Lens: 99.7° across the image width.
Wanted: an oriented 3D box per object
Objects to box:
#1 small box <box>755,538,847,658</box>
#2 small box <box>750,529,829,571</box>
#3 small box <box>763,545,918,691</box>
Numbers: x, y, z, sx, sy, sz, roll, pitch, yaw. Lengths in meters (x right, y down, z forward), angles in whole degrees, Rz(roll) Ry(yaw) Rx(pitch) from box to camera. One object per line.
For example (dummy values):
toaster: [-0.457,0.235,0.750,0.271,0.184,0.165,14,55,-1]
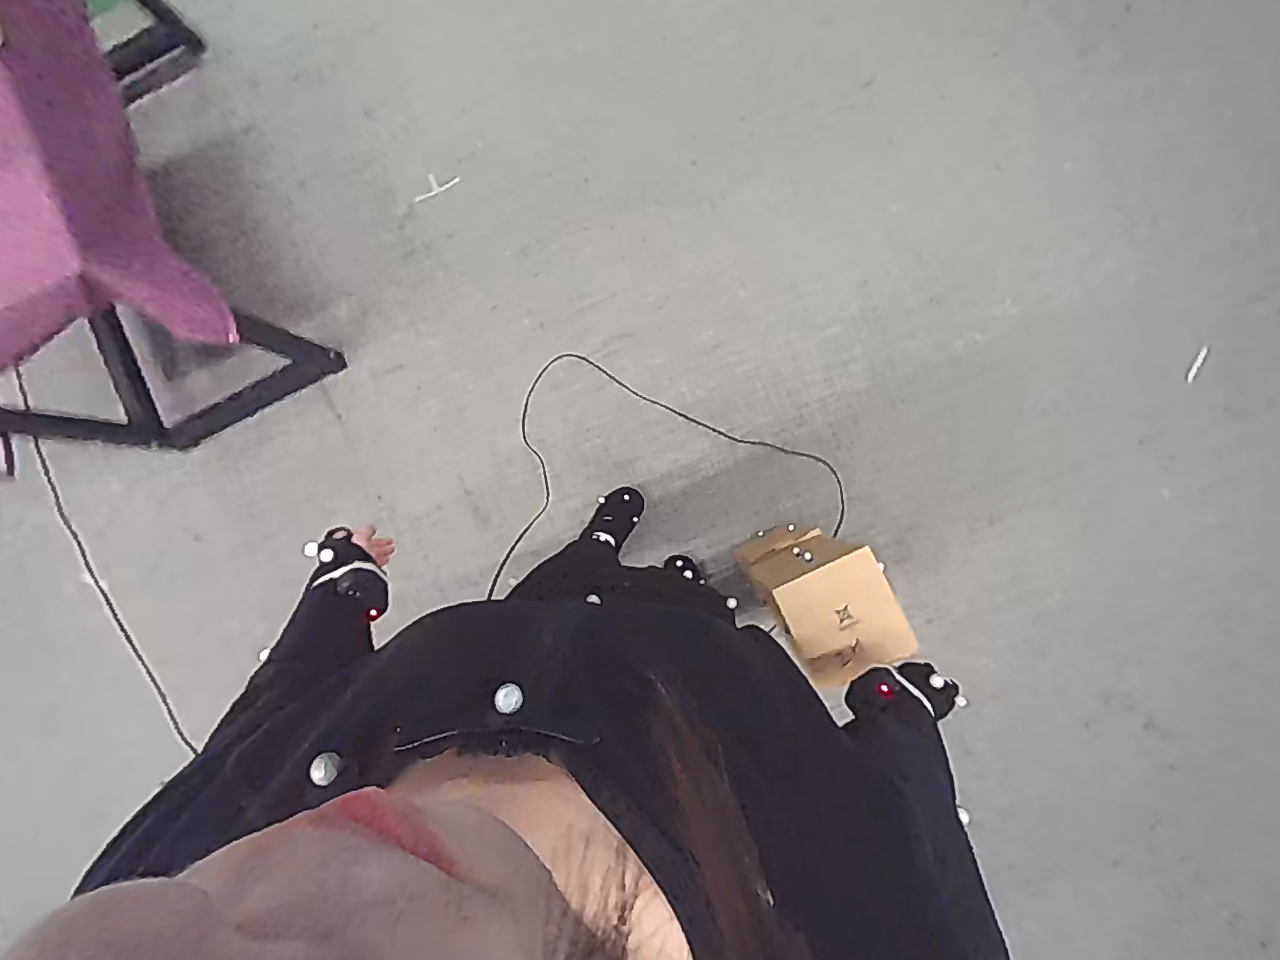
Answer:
small box: [0.339,0.225,1.070,0.179,0.176,0.168,-25,86,3]
small box: [0.363,0.221,1.231,0.168,0.176,0.179,-26,86,4]
small box: [0.320,0.217,0.906,0.168,0.176,0.179,-25,85,4]
